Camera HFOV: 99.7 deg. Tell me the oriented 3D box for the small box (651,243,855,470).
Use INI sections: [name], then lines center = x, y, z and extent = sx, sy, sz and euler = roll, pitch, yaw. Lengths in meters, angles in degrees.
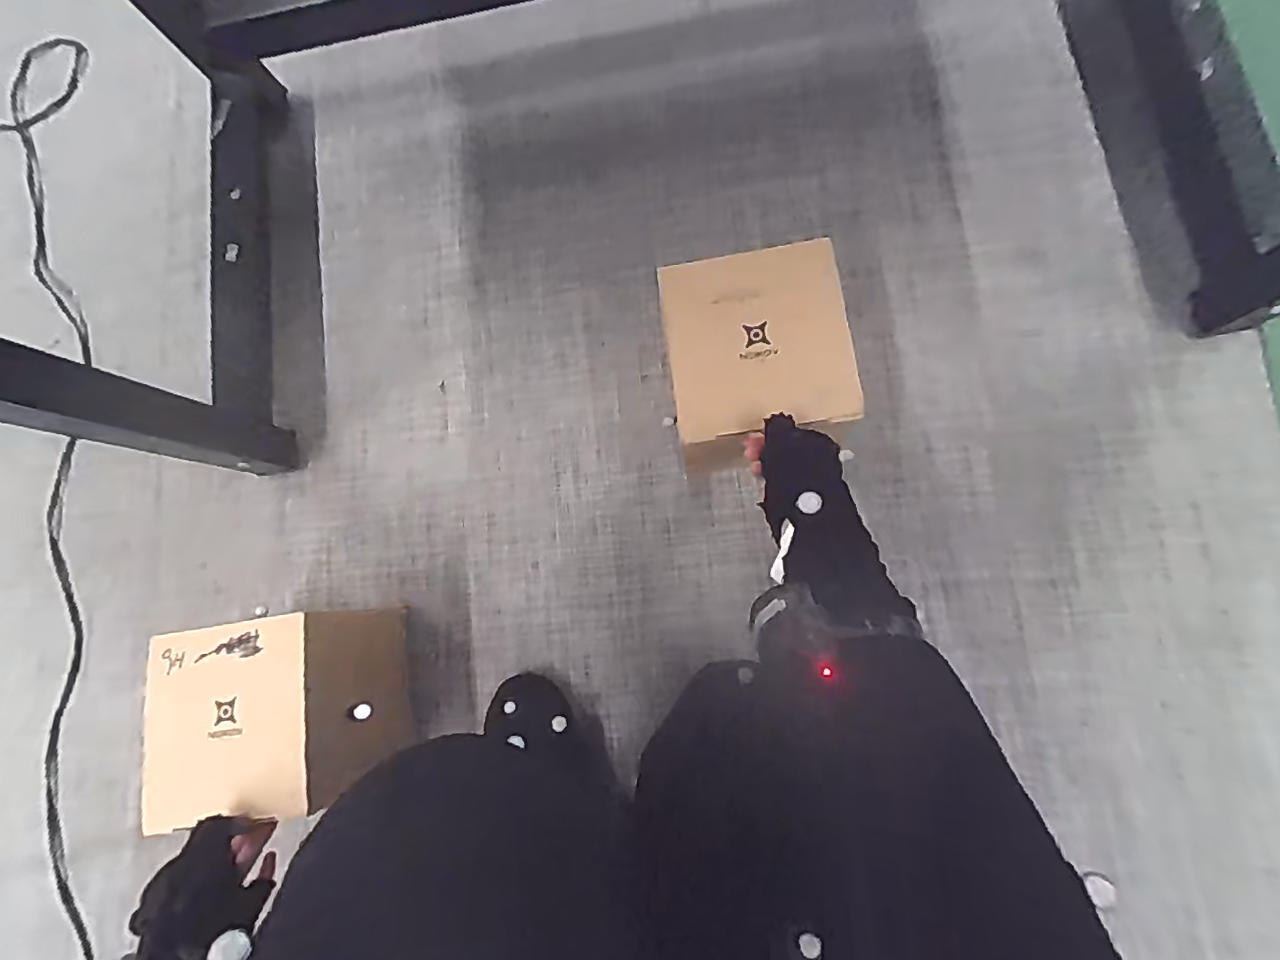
[small box]
center = 0.110, -0.113, 0.576
extent = 0.168, 0.176, 0.179
euler = -9, 79, 4
